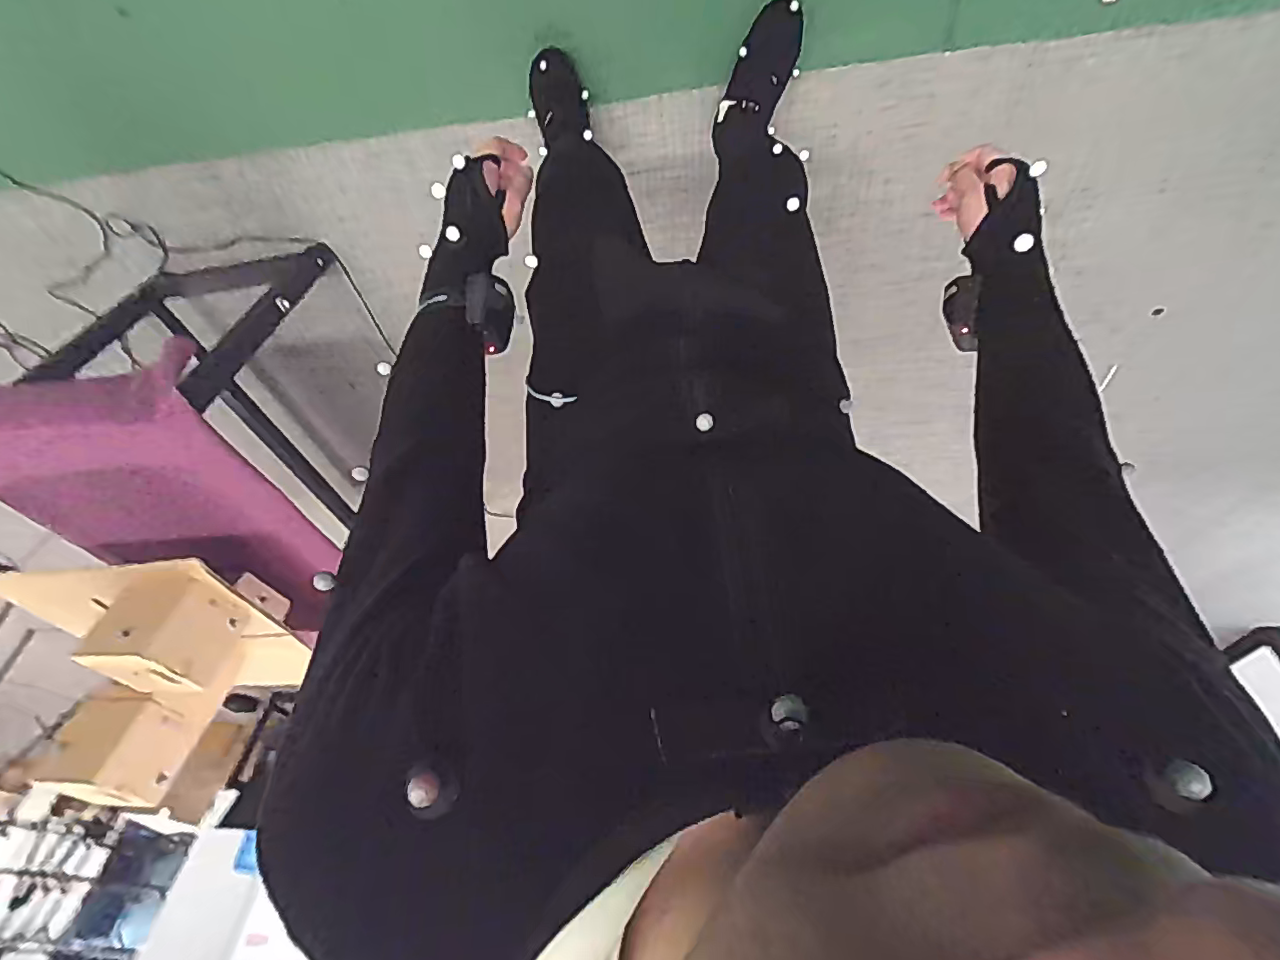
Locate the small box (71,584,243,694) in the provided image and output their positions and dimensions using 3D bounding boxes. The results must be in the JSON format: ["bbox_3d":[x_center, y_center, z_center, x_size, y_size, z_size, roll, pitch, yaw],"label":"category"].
[{"bbox_3d":[-0.969,0.324,1.111,0.179,0.176,0.168,-4,136,11],"label":"small box"}]

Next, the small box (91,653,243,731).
[{"bbox_3d":[-1.109,0.479,1.287,0.179,0.176,0.168,-4,136,9],"label":"small box"}]
